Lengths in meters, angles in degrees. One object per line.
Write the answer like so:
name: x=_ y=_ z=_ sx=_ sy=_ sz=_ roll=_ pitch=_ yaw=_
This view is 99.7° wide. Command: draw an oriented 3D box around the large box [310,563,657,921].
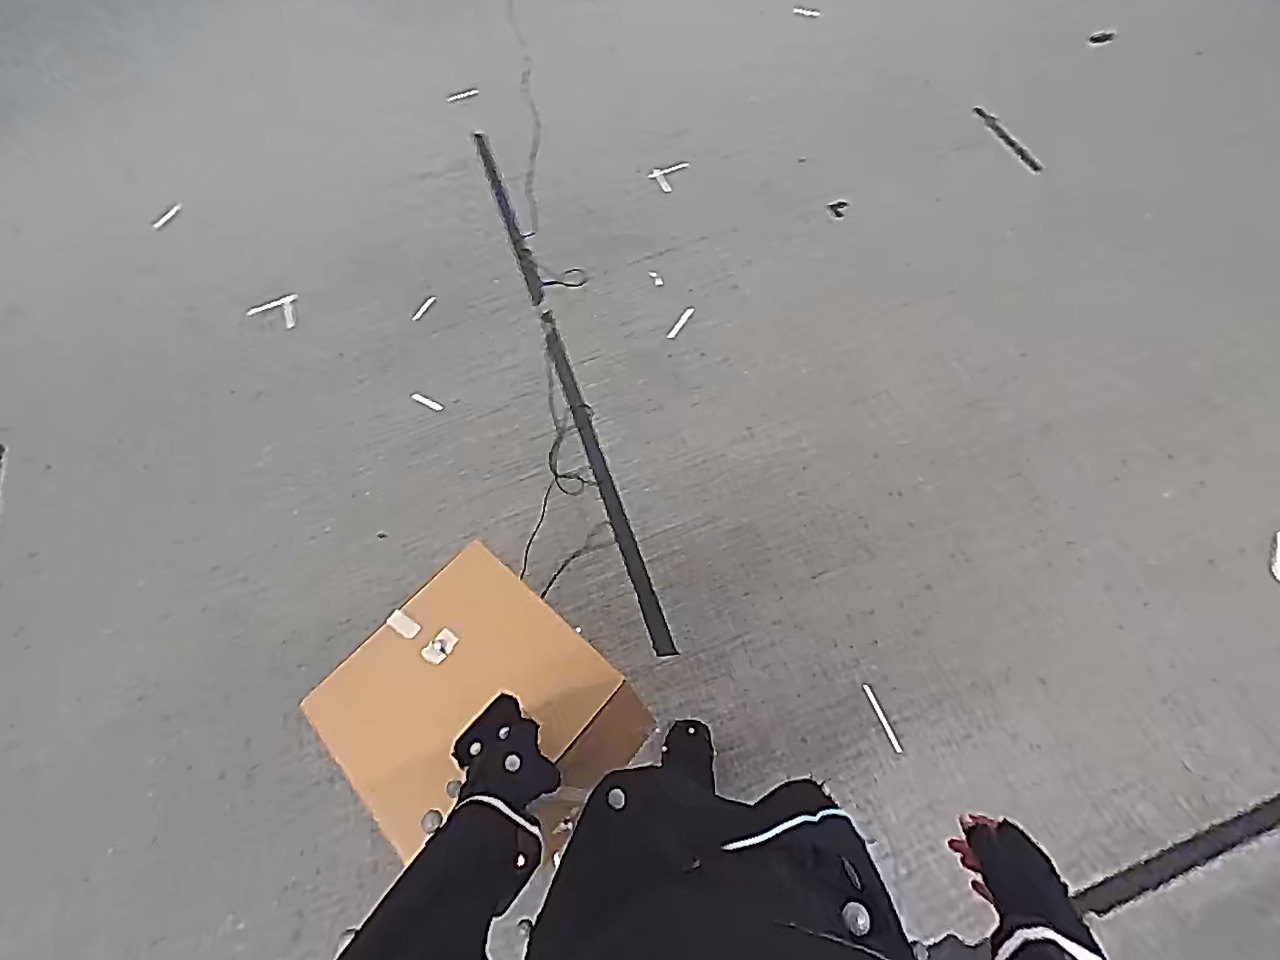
large box: x=-0.204 y=0.392 z=0.858 sx=0.320 sy=0.408 sz=0.320 roll=35 pitch=70 yaw=25
